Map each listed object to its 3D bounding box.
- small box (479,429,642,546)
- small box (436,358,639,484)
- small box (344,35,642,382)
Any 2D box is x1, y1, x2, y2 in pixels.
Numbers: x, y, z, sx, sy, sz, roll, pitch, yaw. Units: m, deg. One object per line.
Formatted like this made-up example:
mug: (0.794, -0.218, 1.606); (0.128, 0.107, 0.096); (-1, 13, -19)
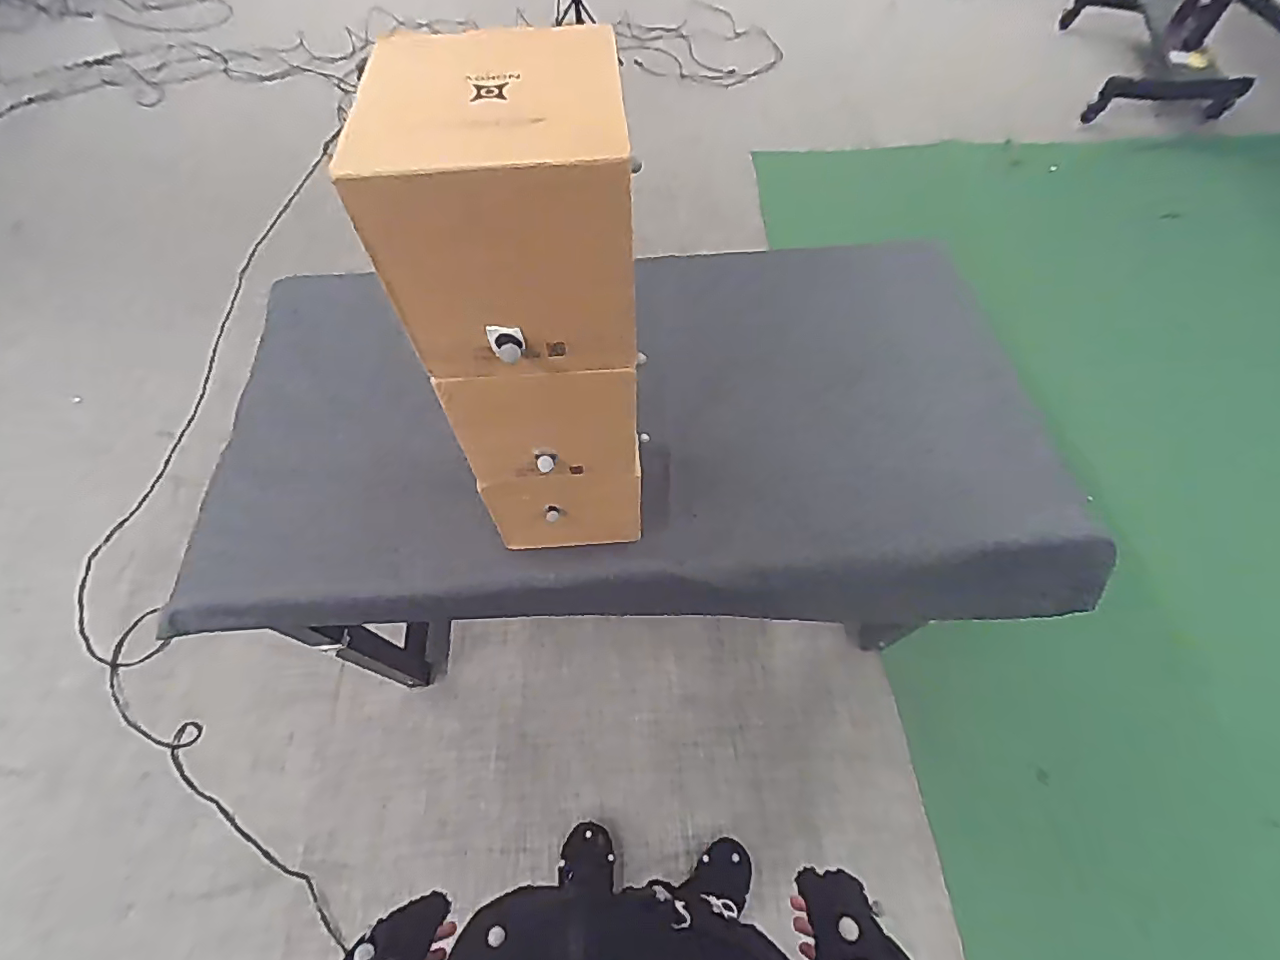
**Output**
small box: (-0.089, -0.024, 0.686); (0.179, 0.176, 0.168); (-3, 59, -2)
small box: (-0.088, -0.113, 0.547); (0.168, 0.176, 0.179); (-3, 59, -2)
small box: (-0.087, -0.197, 0.409); (0.168, 0.176, 0.179); (-5, 60, -1)
